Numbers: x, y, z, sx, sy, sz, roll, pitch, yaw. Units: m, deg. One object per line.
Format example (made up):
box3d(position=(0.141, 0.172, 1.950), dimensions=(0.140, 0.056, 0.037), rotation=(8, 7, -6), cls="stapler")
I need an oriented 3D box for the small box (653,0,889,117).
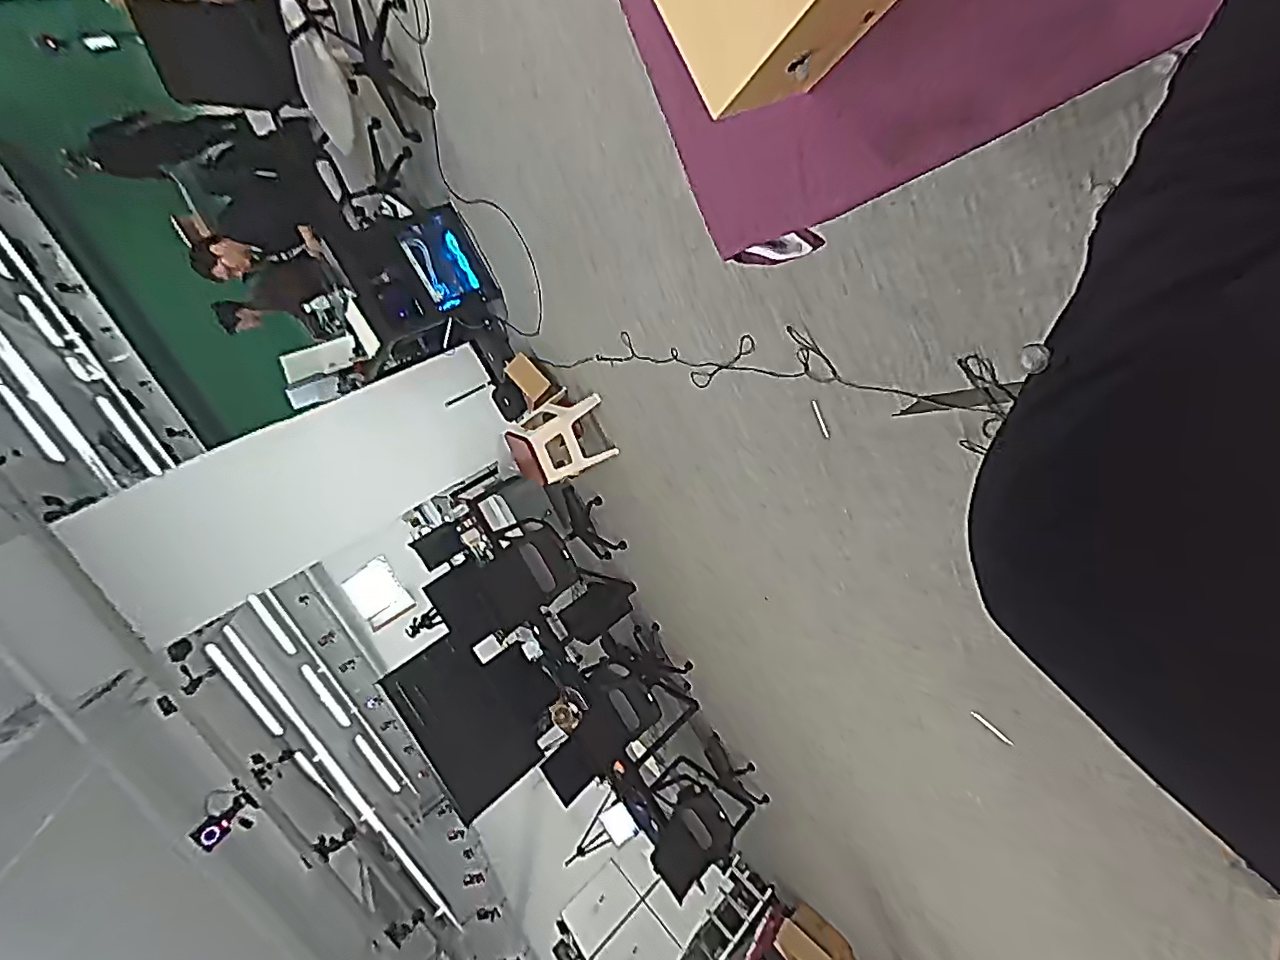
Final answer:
box3d(position=(0.131, -0.498, 0.513), dimensions=(0.179, 0.176, 0.168), rotation=(60, 153, -8), cls="small box")
